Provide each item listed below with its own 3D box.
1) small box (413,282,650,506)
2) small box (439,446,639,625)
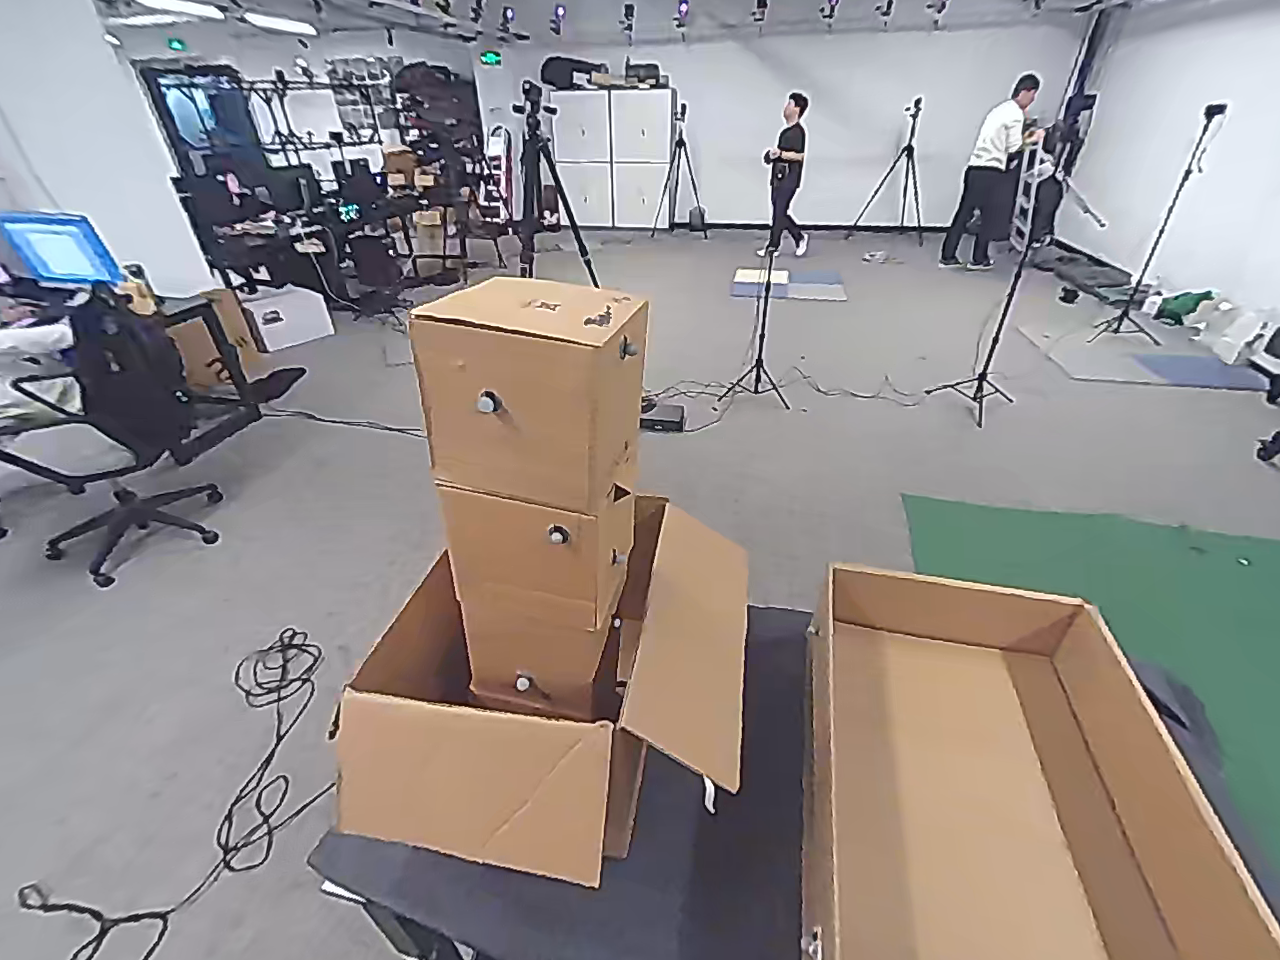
[{"bbox_3d":[-0.097,-0.092,0.554,0.179,0.176,0.168,11,34,10],"label":"small box"},{"bbox_3d":[-0.108,0.047,0.641,0.179,0.176,0.168,10,34,9],"label":"small box"}]
